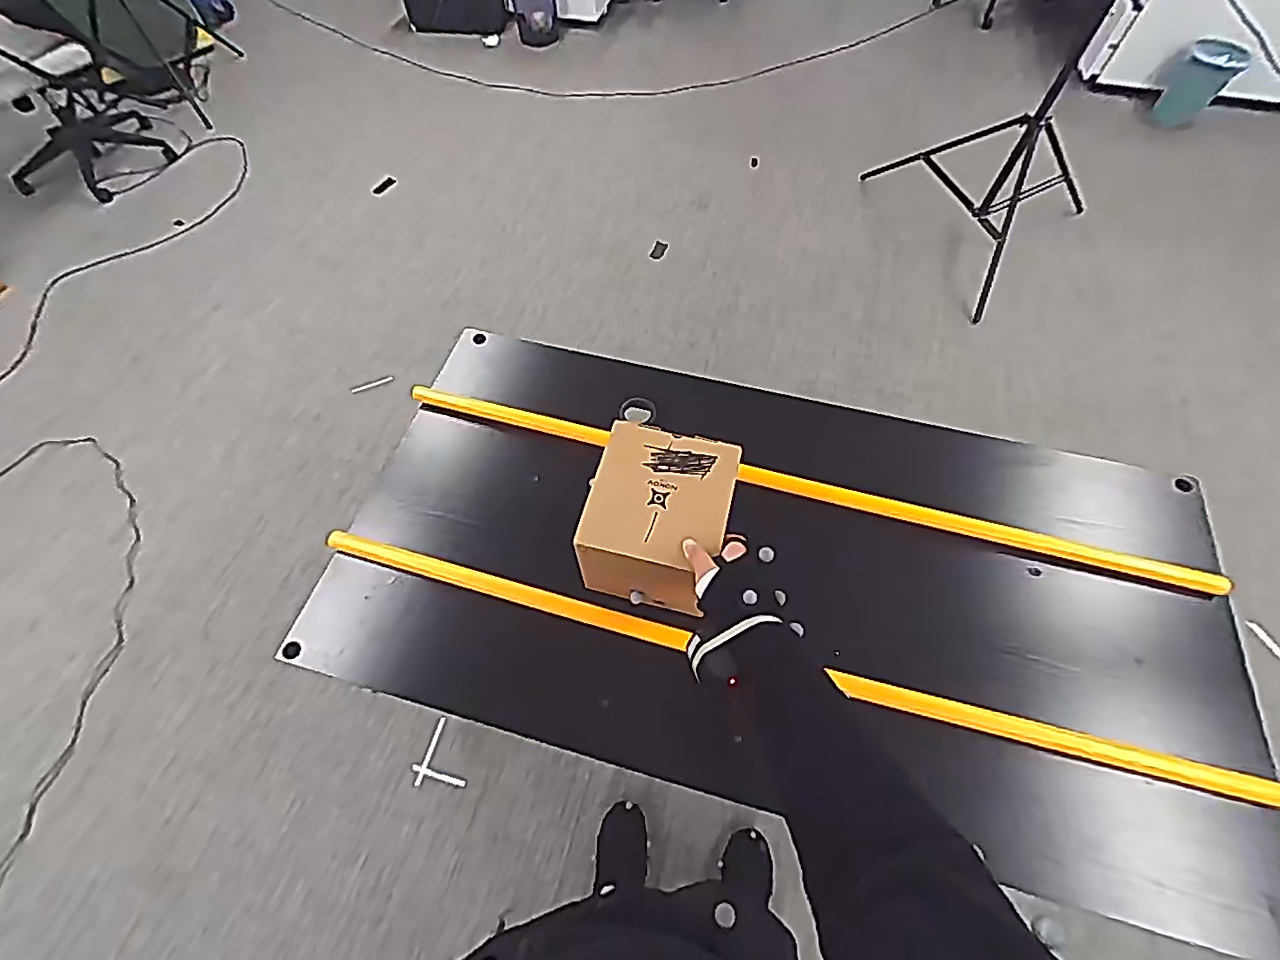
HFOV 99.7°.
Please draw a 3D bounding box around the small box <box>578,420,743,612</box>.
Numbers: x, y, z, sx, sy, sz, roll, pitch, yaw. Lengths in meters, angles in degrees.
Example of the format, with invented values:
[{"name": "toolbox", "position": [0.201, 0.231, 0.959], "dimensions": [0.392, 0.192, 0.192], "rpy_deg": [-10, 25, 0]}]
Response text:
[{"name": "small box", "position": [0.029, 0.053, 0.710], "dimensions": [0.168, 0.176, 0.179], "rpy_deg": [13, 62, 8]}]
